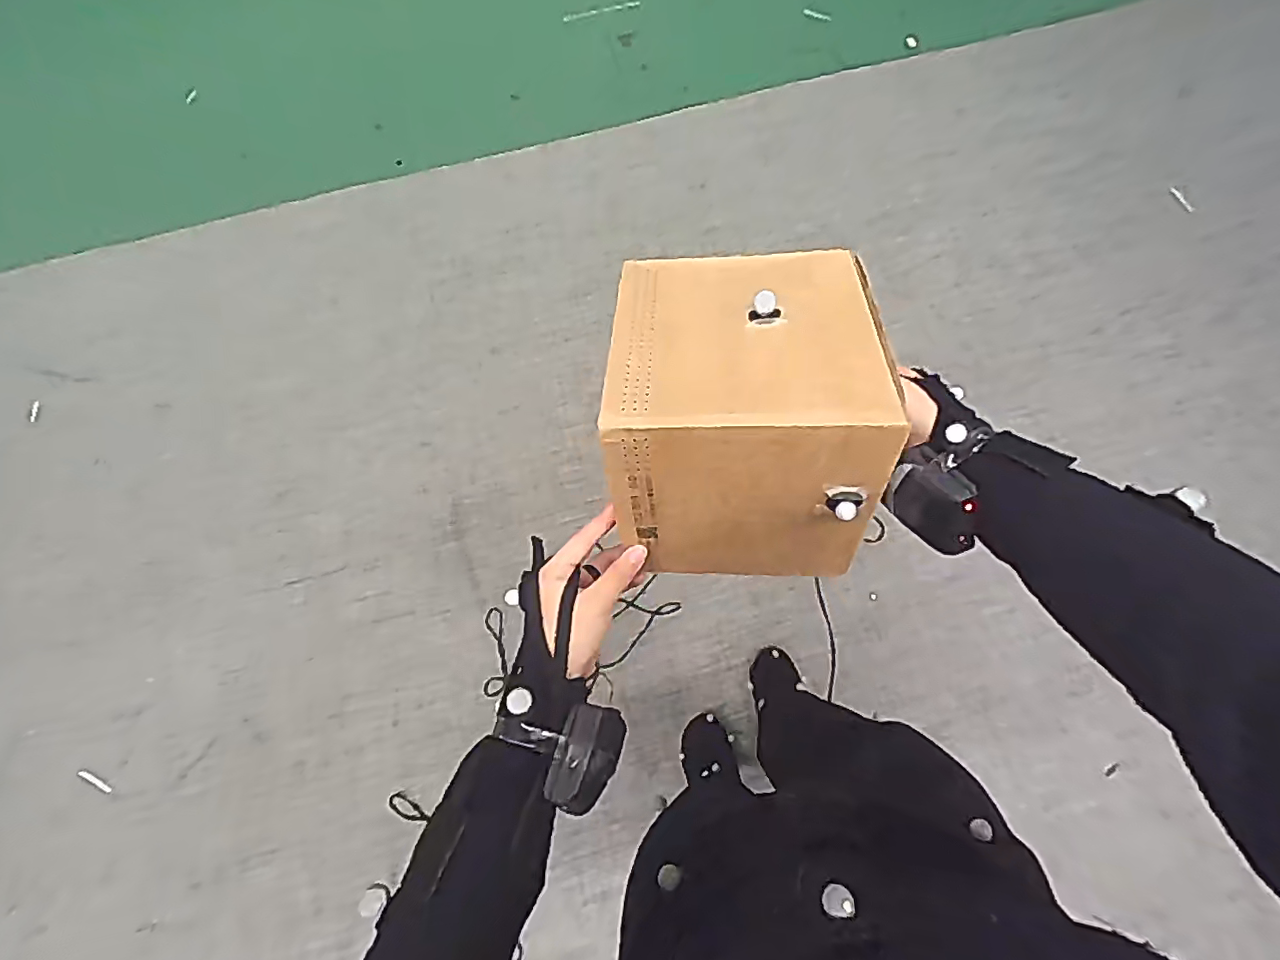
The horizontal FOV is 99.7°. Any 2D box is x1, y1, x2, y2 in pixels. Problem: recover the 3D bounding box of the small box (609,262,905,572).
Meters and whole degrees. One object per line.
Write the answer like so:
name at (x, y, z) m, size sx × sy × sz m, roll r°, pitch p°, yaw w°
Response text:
small box at (0.071, -0.045, 0.413) m, size 0.176 × 0.168 × 0.179 m, roll -1°, pitch 51°, yaw 6°
